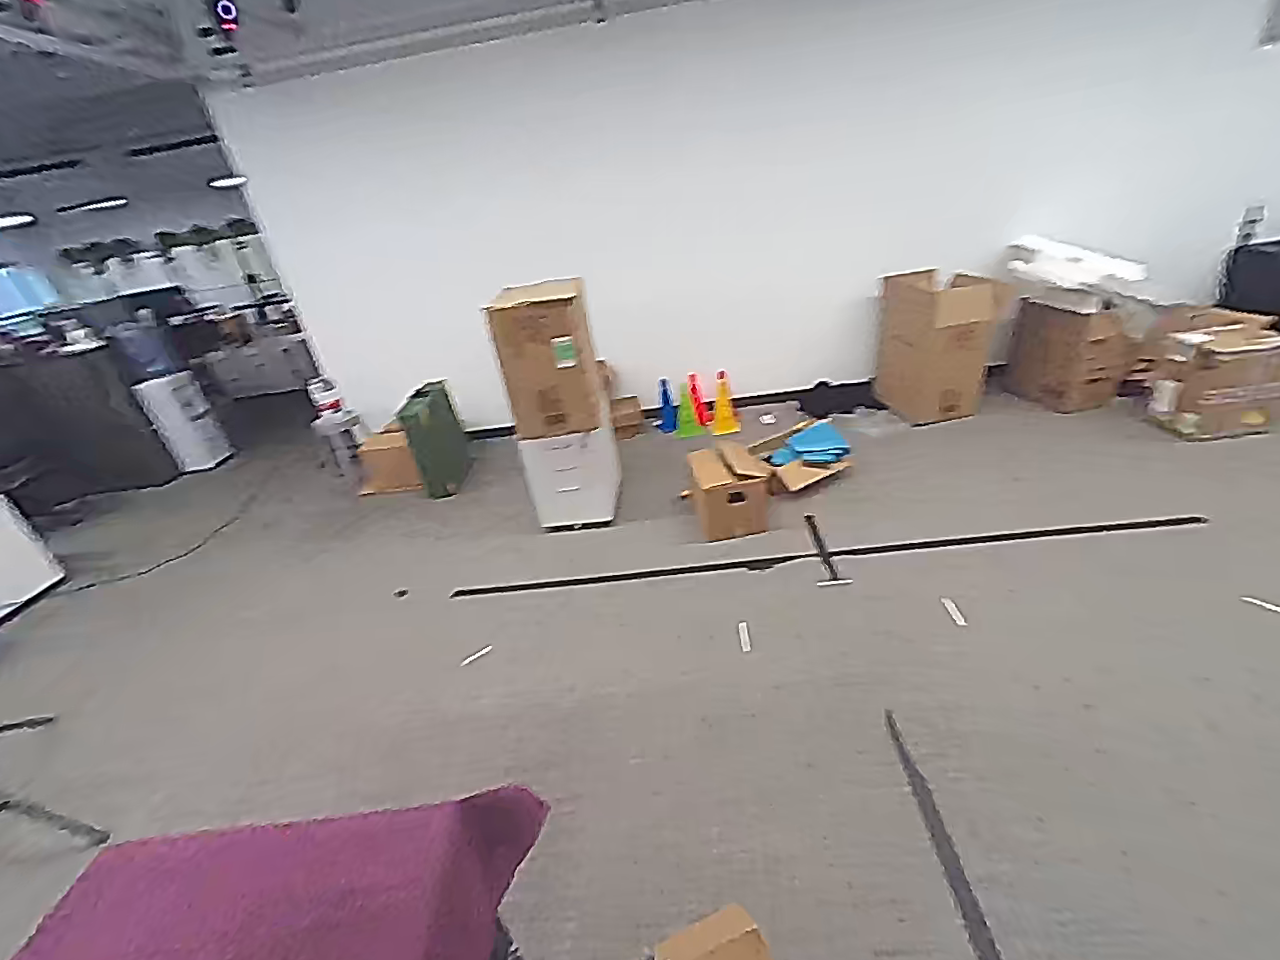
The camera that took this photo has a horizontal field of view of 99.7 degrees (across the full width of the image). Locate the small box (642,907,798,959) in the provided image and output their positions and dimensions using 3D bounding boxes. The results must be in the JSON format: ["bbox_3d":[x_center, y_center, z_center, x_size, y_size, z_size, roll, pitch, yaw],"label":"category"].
[{"bbox_3d":[0.051,0.437,0.382,0.179,0.176,0.168,-22,55,-9],"label":"small box"}]
